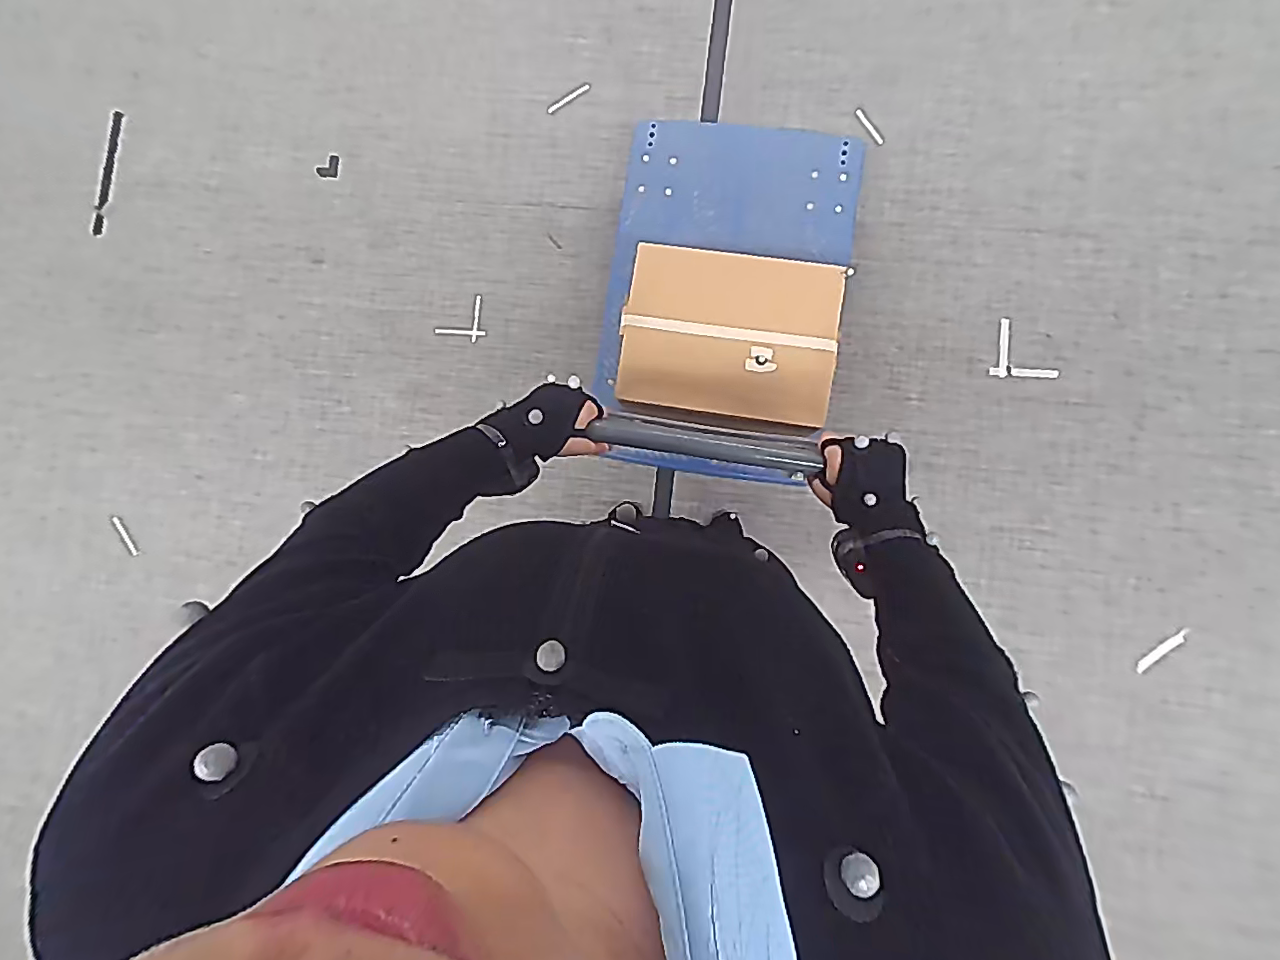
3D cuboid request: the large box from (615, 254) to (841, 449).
[{"bbox_3d":[0.174,-0.258,1.184,0.408,0.320,0.320,9,89,4],"label":"large box"}]
